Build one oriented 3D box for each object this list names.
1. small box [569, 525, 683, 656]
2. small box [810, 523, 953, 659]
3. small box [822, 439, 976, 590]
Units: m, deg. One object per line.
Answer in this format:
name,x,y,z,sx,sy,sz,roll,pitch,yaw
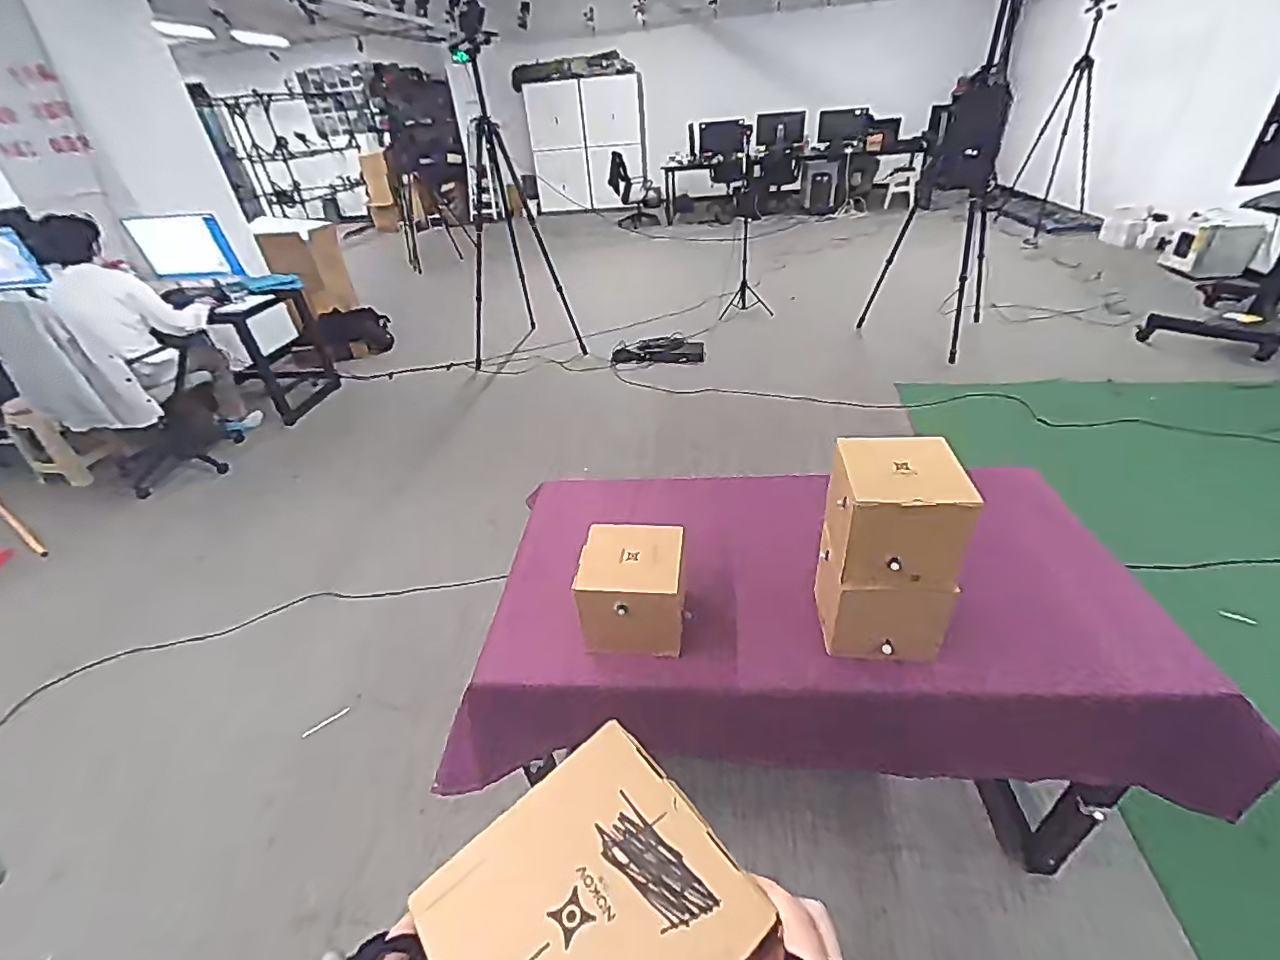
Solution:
small box,-0.016,0.200,0.980,0.179,0.176,0.168,1,36,8
small box,0.403,0.190,0.936,0.179,0.176,0.168,0,35,7
small box,0.389,0.050,0.852,0.168,0.176,0.179,0,36,9
